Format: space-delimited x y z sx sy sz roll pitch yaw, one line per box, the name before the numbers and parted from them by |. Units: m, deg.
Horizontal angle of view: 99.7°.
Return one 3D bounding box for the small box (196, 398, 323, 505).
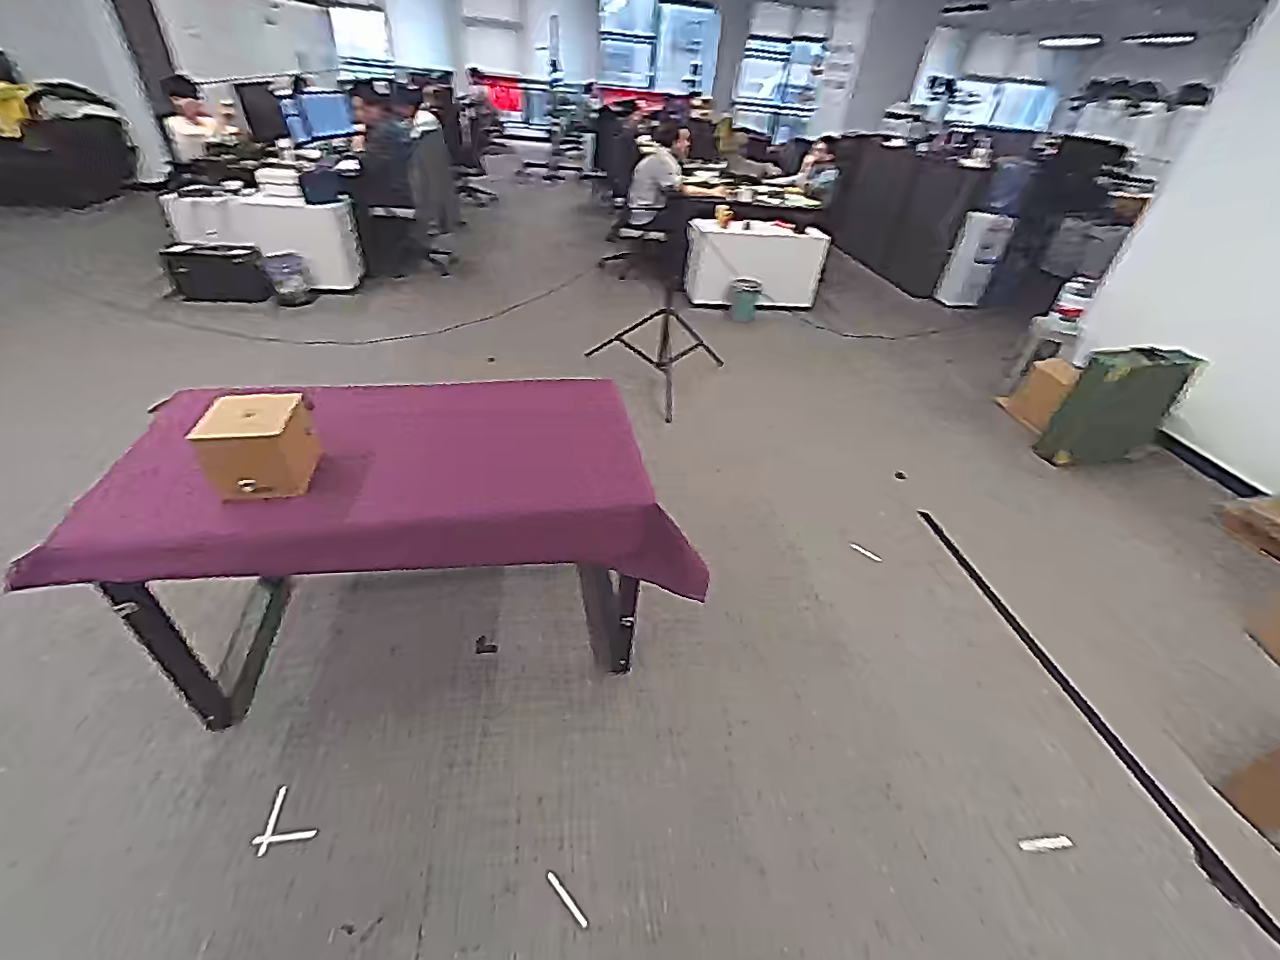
small box | -0.829 -0.065 1.202 0.168 0.176 0.179 -5 39 -12
